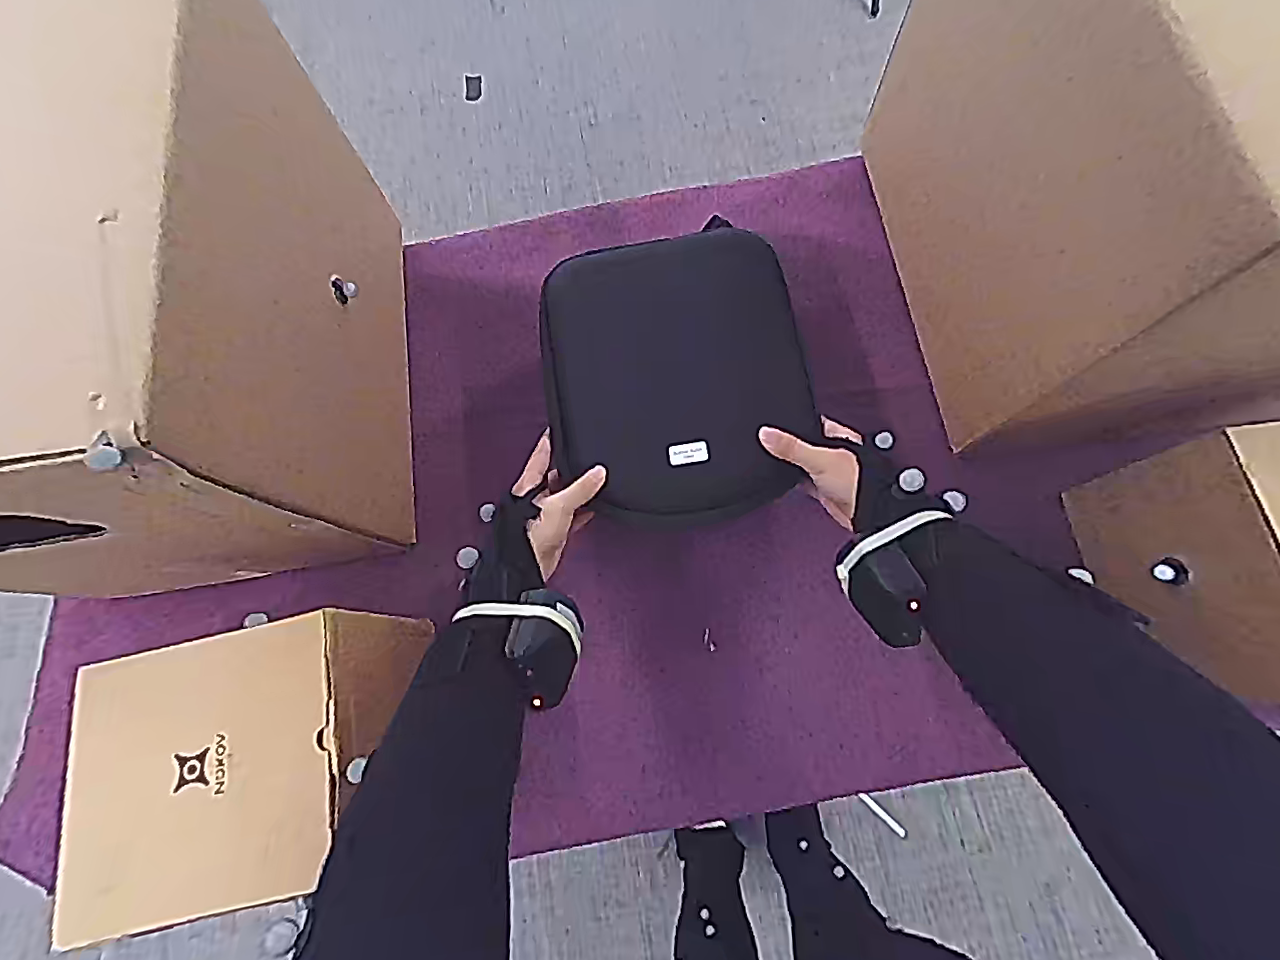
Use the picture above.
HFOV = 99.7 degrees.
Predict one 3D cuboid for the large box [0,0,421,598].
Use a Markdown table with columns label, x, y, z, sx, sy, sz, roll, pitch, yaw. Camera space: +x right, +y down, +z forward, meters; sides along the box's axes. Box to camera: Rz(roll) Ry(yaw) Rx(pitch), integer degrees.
| label | x | y | z | sx | sy | sz | roll | pitch | yaw |
| --- | --- | --- | --- | --- | --- | --- | --- | --- | --- |
| large box | -0.410 | -0.131 | 0.461 | 0.320 | 0.320 | 0.408 | -10 | 75 | 0 |

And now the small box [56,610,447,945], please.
| label | x | y | z | sx | sy | sz | roll | pitch | yaw |
| --- | --- | --- | --- | --- | --- | --- | --- | --- | --- |
| small box | -0.276 | 0.209 | 0.423 | 0.179 | 0.176 | 0.168 | -14 | 72 | -1 |
